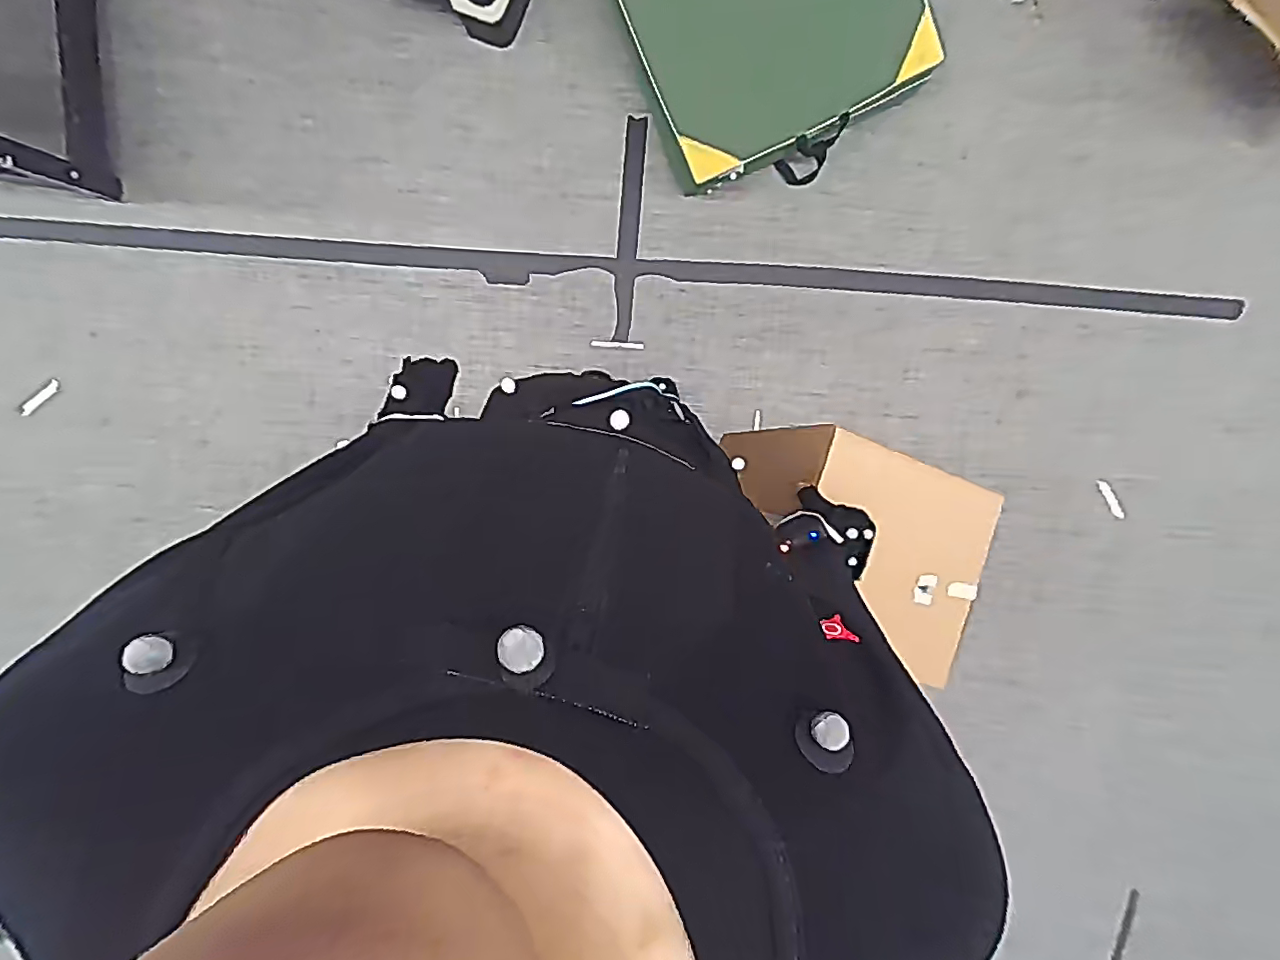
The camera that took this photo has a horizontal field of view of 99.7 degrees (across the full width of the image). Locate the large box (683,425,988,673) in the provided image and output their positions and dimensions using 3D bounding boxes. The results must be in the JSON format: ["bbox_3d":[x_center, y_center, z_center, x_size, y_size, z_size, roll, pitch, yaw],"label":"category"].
[{"bbox_3d":[0.318,0.106,0.984,0.320,0.408,0.320,19,88,-12],"label":"large box"}]
